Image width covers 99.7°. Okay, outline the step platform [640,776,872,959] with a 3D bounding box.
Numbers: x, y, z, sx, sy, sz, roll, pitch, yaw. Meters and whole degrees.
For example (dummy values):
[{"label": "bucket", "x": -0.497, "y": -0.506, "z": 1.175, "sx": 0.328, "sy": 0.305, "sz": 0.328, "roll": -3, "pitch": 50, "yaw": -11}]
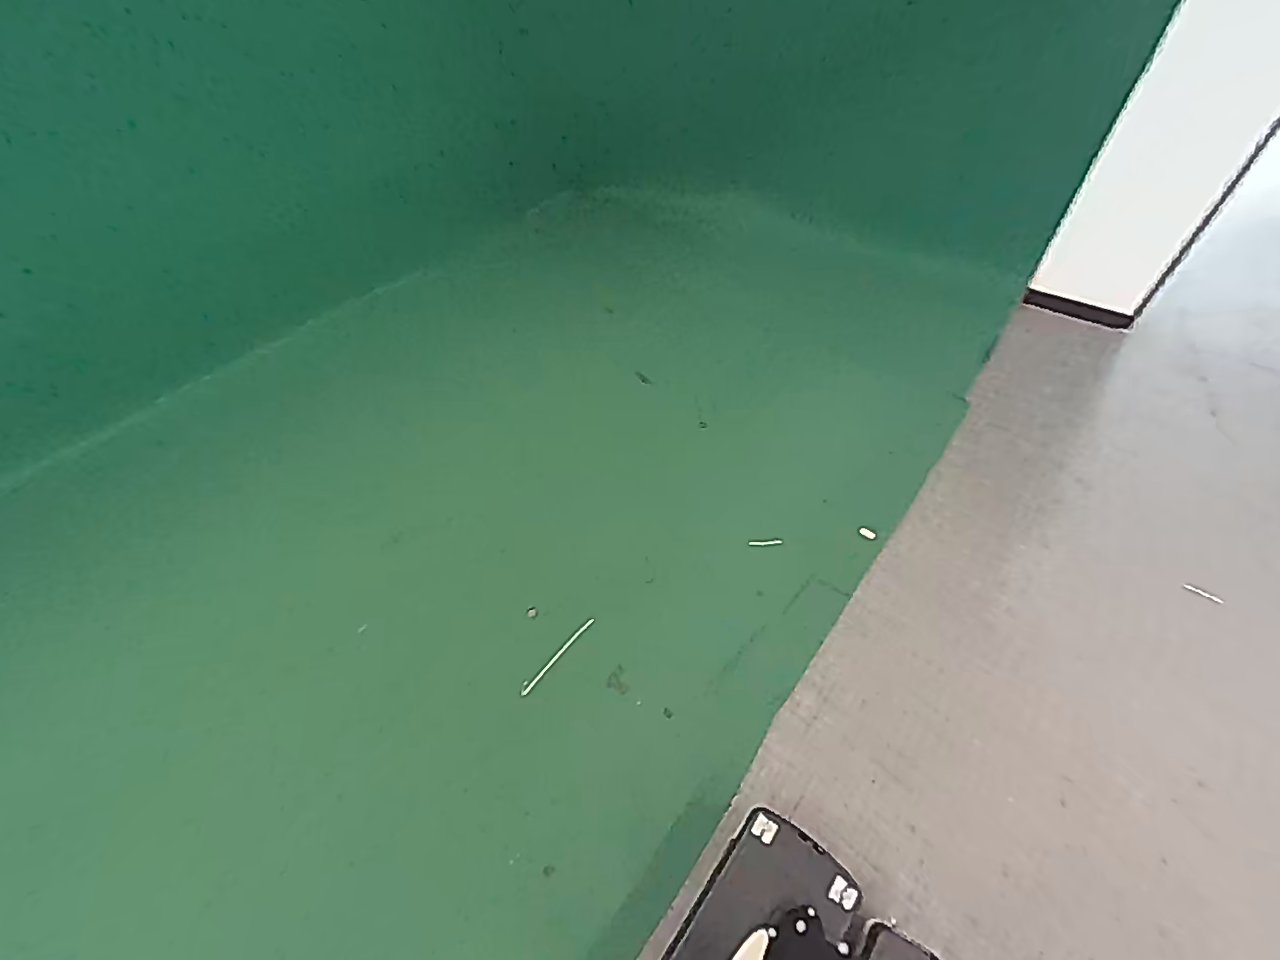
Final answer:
[{"label": "step platform", "x": 0.149, "y": 0.935, "z": 0.997, "sx": 0.286, "sy": 0.204, "sz": 0.684, "roll": 31, "pitch": 59, "yaw": 24}]
